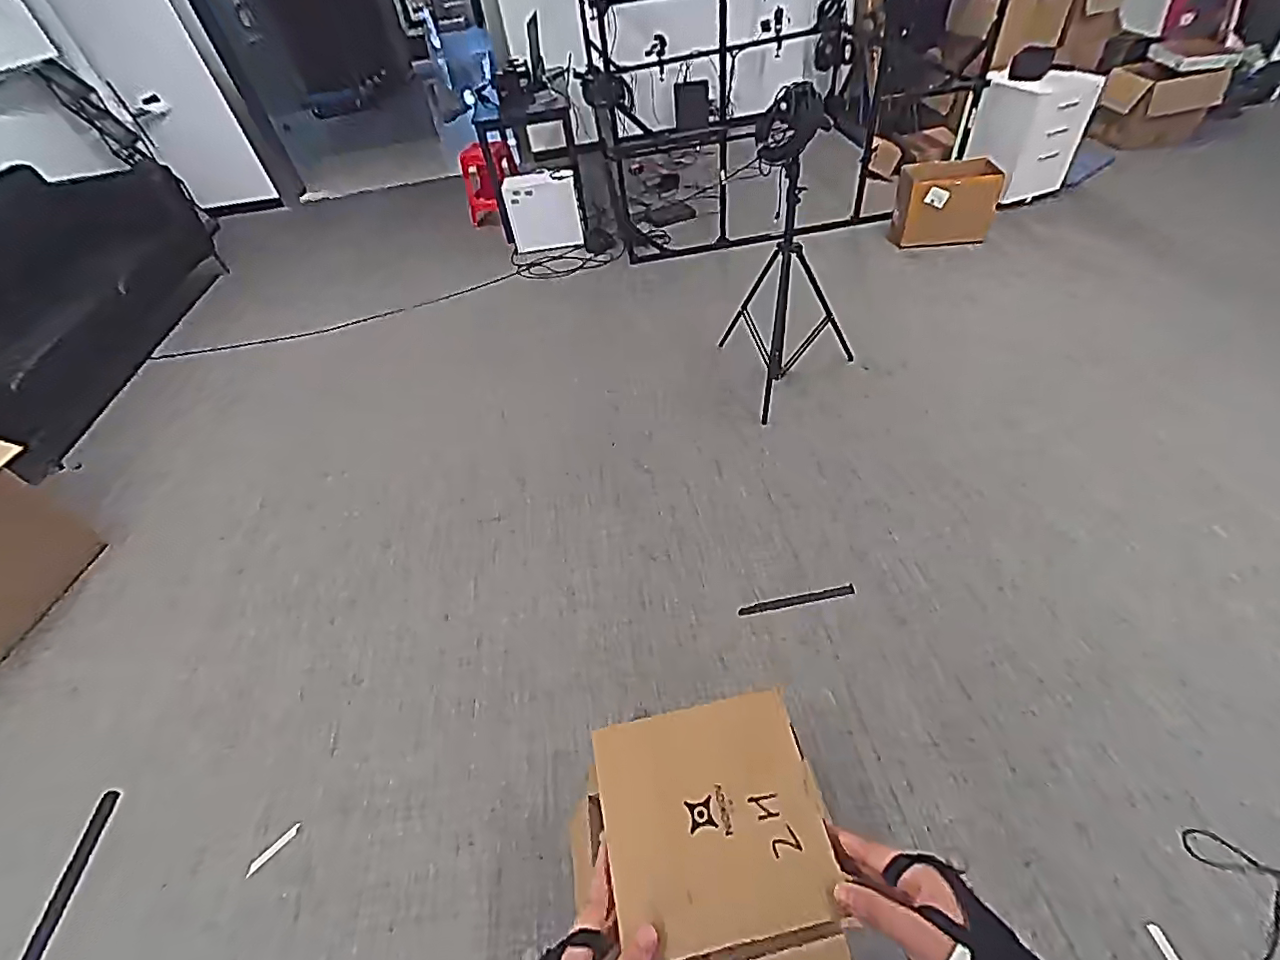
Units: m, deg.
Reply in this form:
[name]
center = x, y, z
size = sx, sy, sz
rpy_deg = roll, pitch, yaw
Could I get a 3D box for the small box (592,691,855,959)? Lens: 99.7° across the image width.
[small box]
center = 0.063, 0.313, 0.493
size = 0.179, 0.176, 0.168
rpy_deg = -11, 55, -4
